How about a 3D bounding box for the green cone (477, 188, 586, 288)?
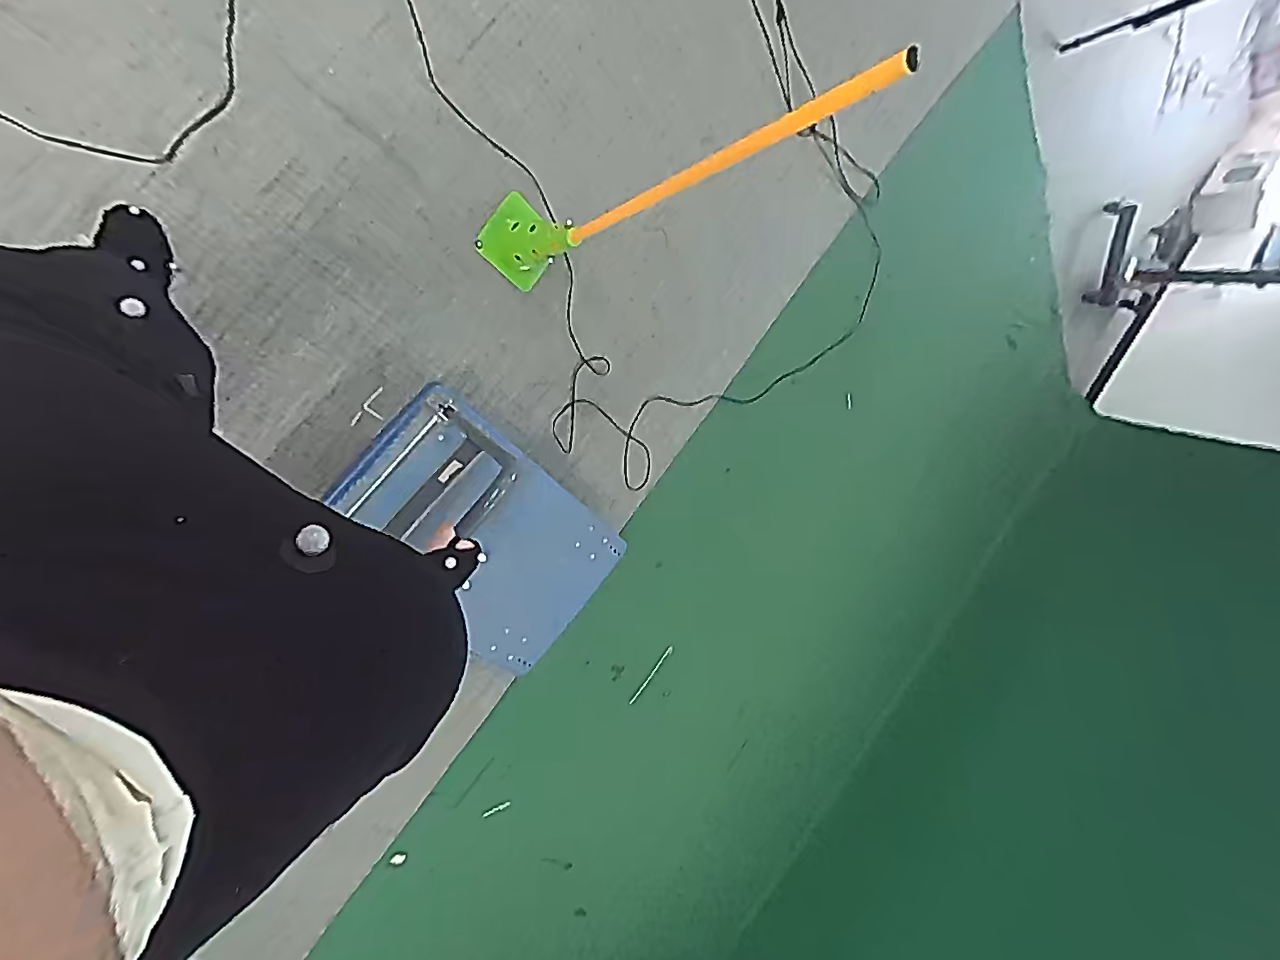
[{"bbox_3d":[-0.241,-0.631,1.400,0.200,0.368,0.202,36,85,-39],"label":"green cone"}]
